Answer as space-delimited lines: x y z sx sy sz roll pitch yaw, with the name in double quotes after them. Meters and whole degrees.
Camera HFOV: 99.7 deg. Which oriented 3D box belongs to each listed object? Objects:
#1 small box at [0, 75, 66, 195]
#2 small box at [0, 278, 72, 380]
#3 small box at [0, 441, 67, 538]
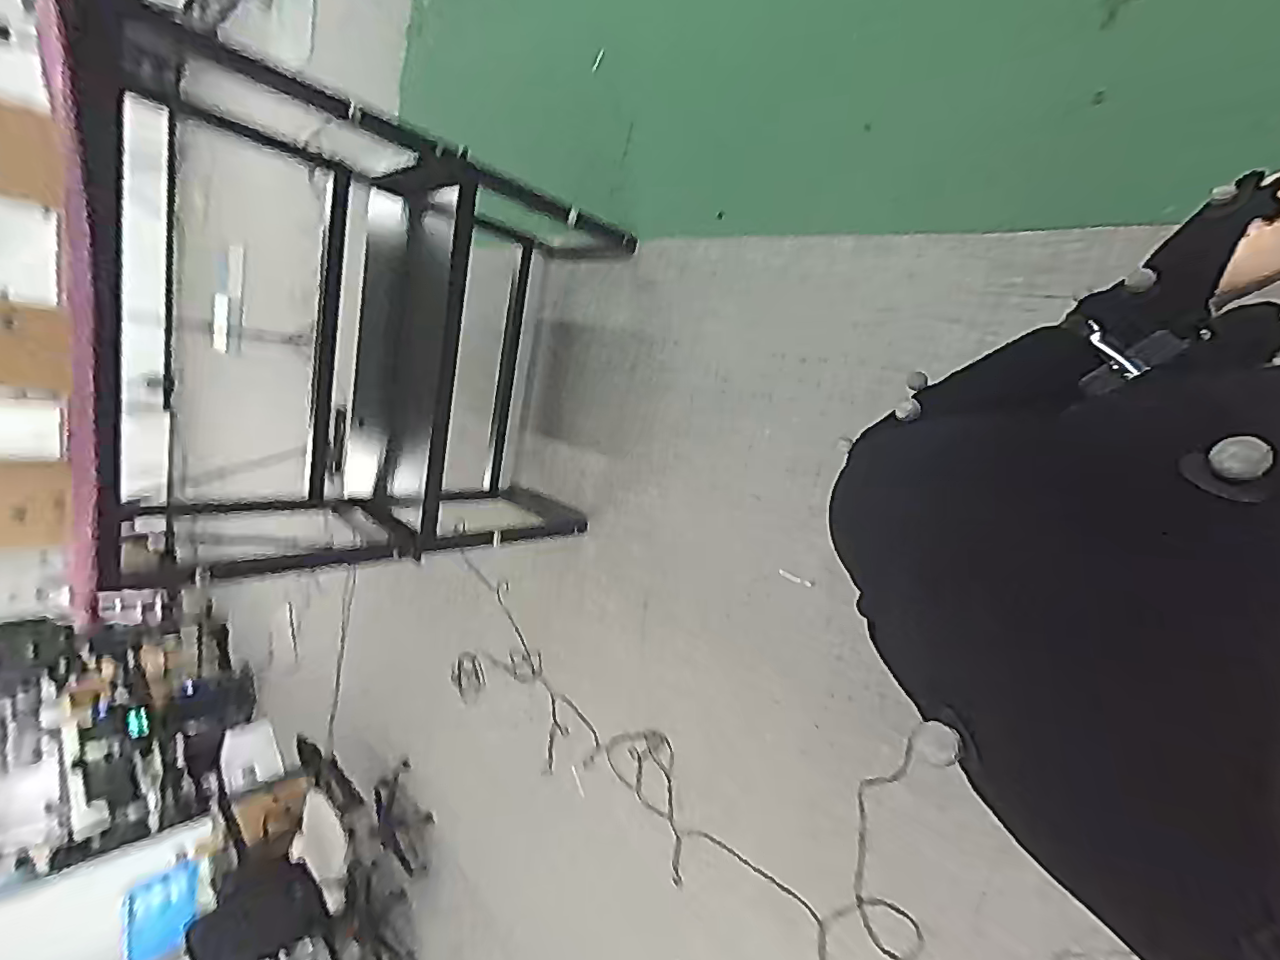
-1.179 -0.640 0.989 0.168 0.176 0.179 22 105 41 "small box"
-1.226 -0.298 1.040 0.168 0.176 0.179 18 104 40 "small box"
-1.284 0.015 1.090 0.179 0.176 0.168 18 101 39 "small box"
